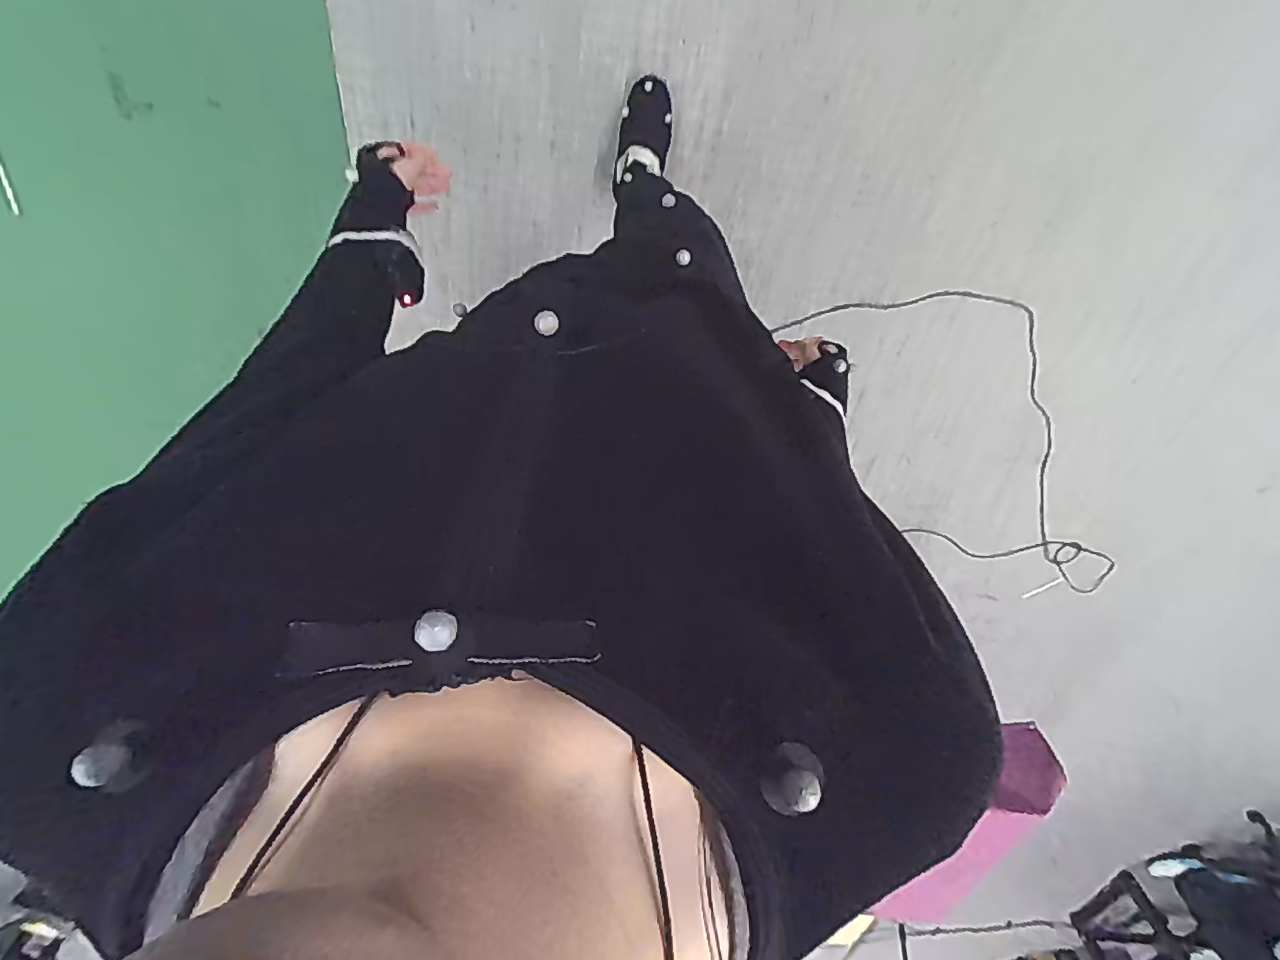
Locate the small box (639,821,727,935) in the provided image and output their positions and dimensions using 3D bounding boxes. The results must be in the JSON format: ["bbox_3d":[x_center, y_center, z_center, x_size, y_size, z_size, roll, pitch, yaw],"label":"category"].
[{"bbox_3d":[0.092,0.930,1.270,0.168,0.176,0.179,8,122,-6],"label":"small box"}]
